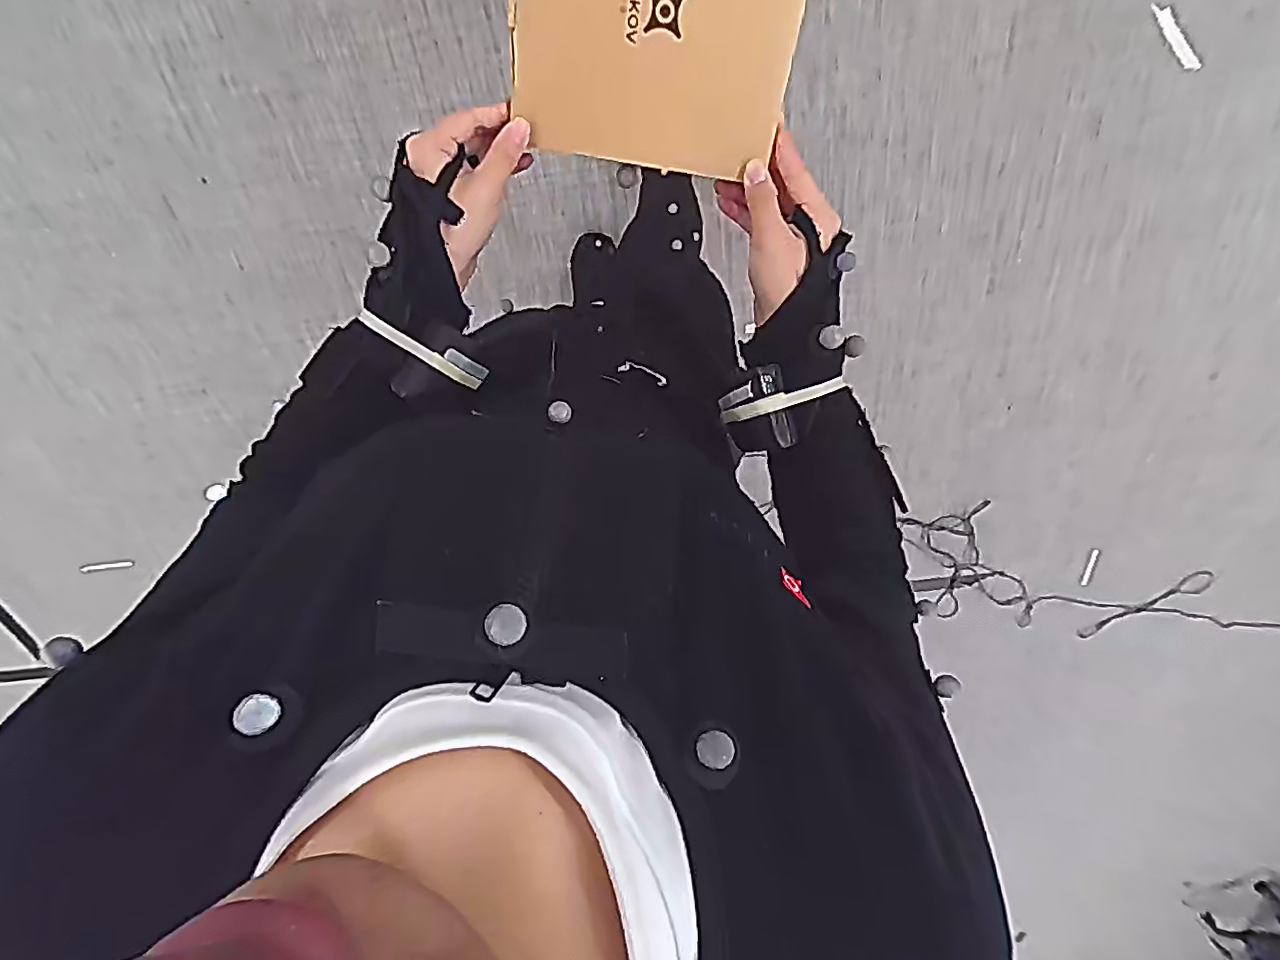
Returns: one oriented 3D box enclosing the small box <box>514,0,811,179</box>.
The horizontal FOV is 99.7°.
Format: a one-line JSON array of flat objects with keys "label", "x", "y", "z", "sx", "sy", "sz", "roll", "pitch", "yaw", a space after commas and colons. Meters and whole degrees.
[{"label": "small box", "x": 0.014, "y": -0.329, "z": 0.388, "sx": 0.179, "sy": 0.176, "sz": 0.168, "roll": 7, "pitch": 123, "yaw": -4}]
